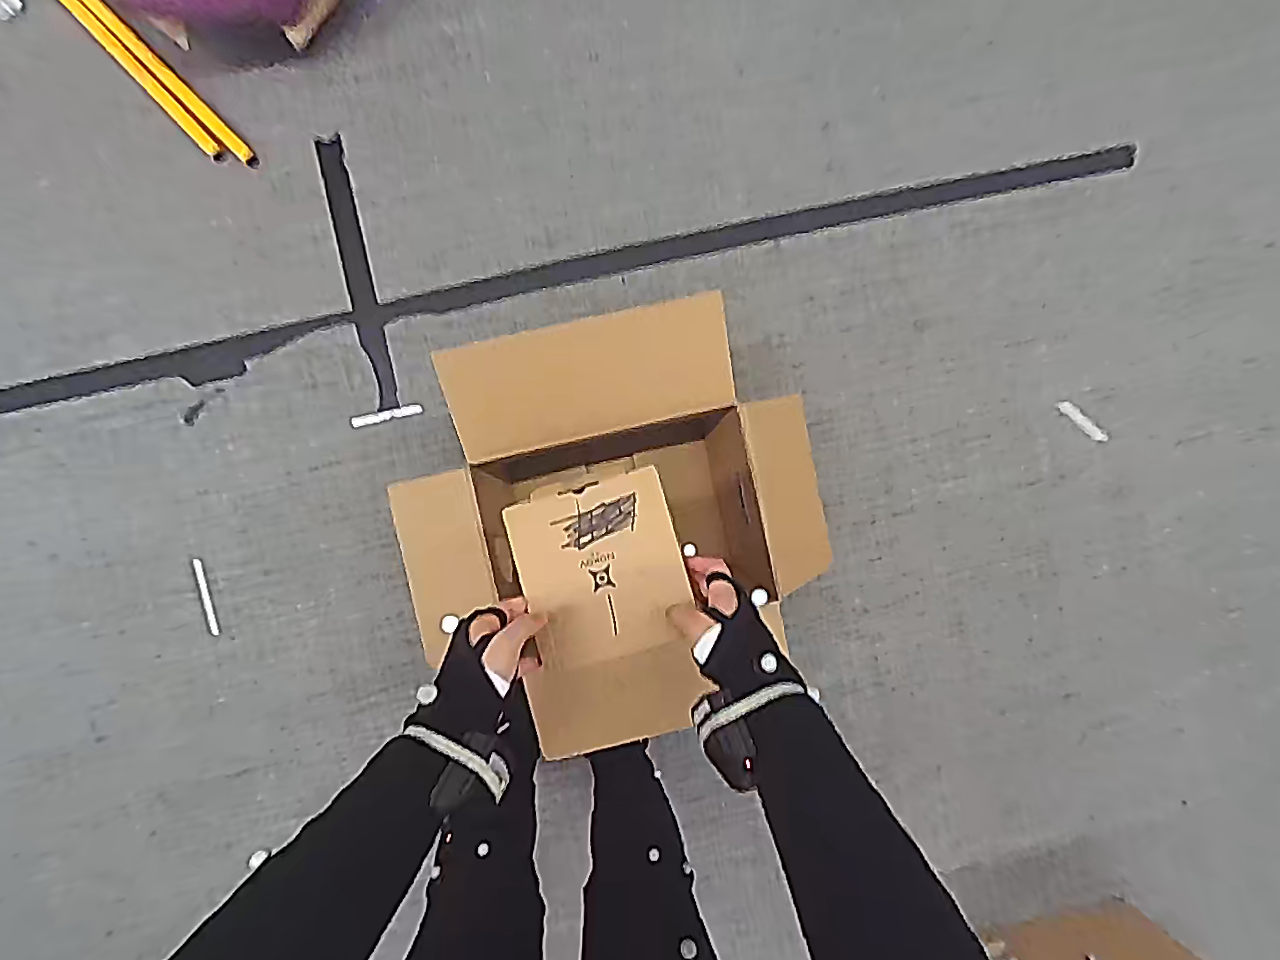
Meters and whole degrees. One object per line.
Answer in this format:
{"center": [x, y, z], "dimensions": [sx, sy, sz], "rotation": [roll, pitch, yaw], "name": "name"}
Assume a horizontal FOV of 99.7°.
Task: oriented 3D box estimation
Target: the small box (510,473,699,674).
{"center": [-0.036, 0.106, 0.642], "dimensions": [0.168, 0.176, 0.179], "rotation": [-17, 83, 2], "name": "small box"}
